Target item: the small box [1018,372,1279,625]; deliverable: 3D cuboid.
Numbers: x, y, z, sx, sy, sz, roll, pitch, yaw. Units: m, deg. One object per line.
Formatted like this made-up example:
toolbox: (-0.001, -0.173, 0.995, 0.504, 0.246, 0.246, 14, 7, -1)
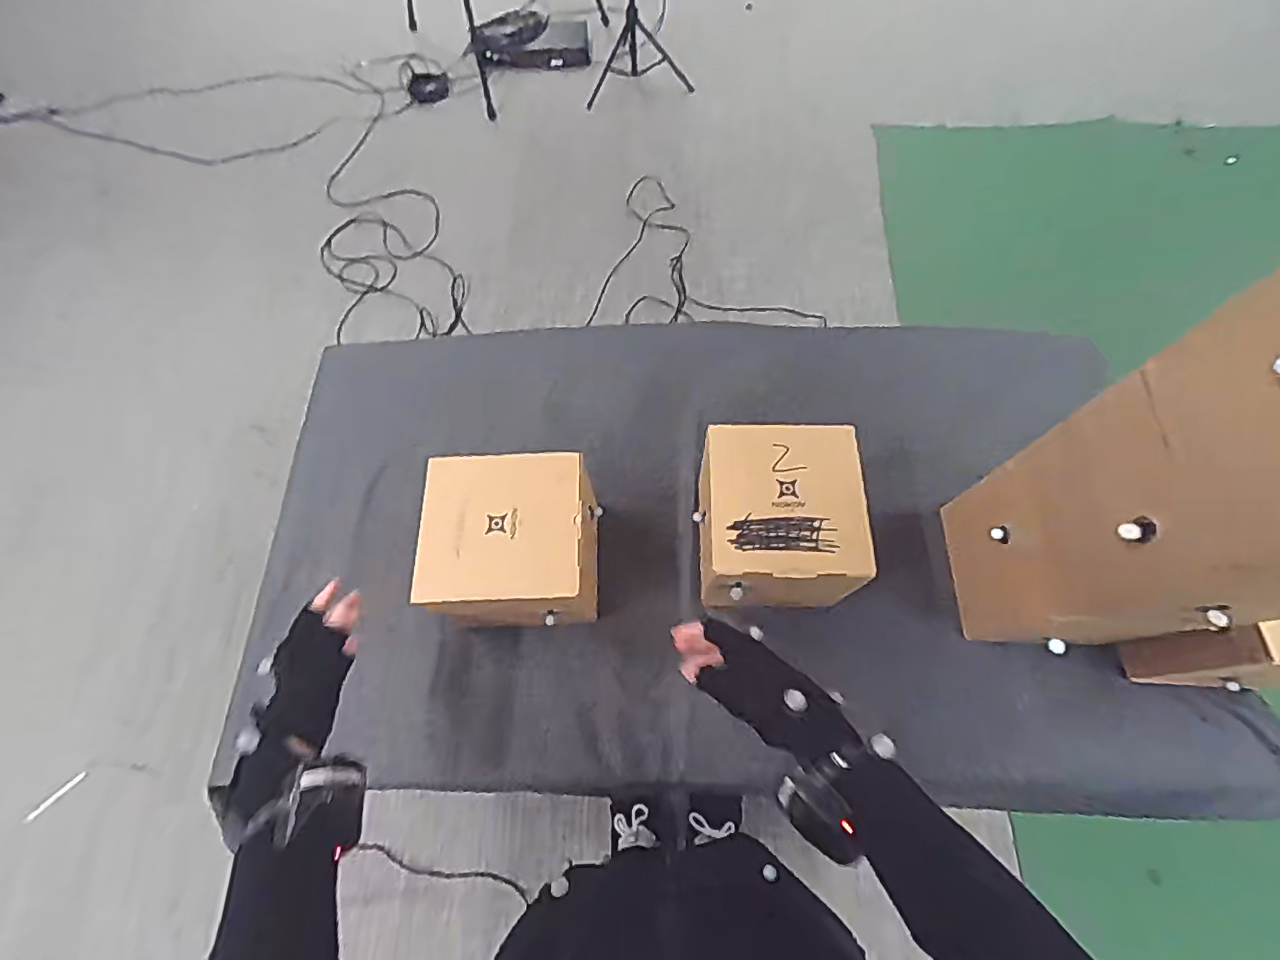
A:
small box: (0.479, 0.026, 0.477, 0.168, 0.176, 0.179, 3, 66, 3)
